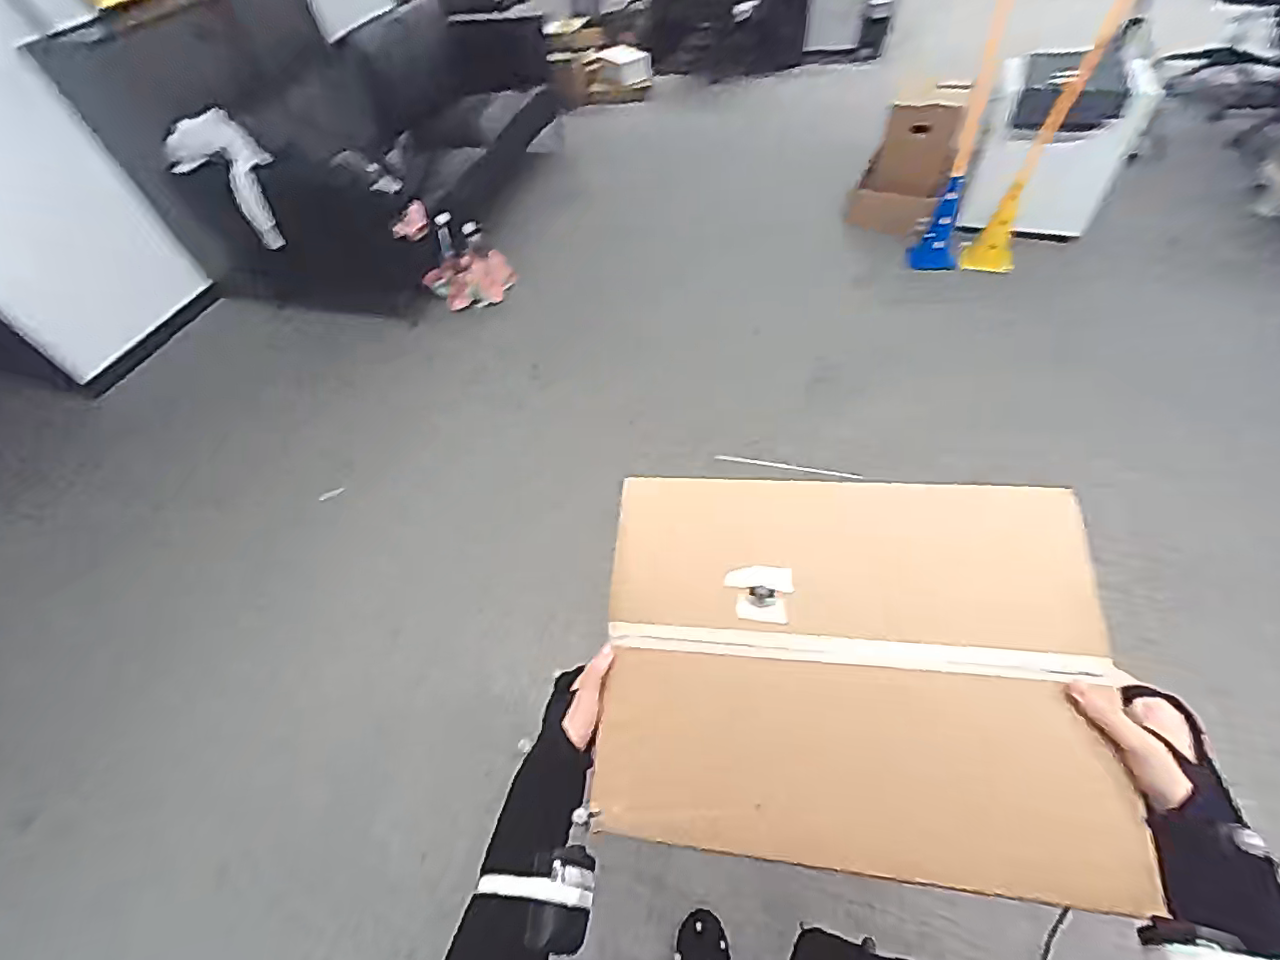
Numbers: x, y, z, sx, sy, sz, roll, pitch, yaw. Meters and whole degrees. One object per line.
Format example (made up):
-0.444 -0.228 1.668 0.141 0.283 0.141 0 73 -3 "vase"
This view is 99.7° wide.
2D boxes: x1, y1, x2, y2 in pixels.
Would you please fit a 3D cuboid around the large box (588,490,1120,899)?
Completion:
0.191 0.210 0.611 0.408 0.320 0.320 2 67 12 "large box"
